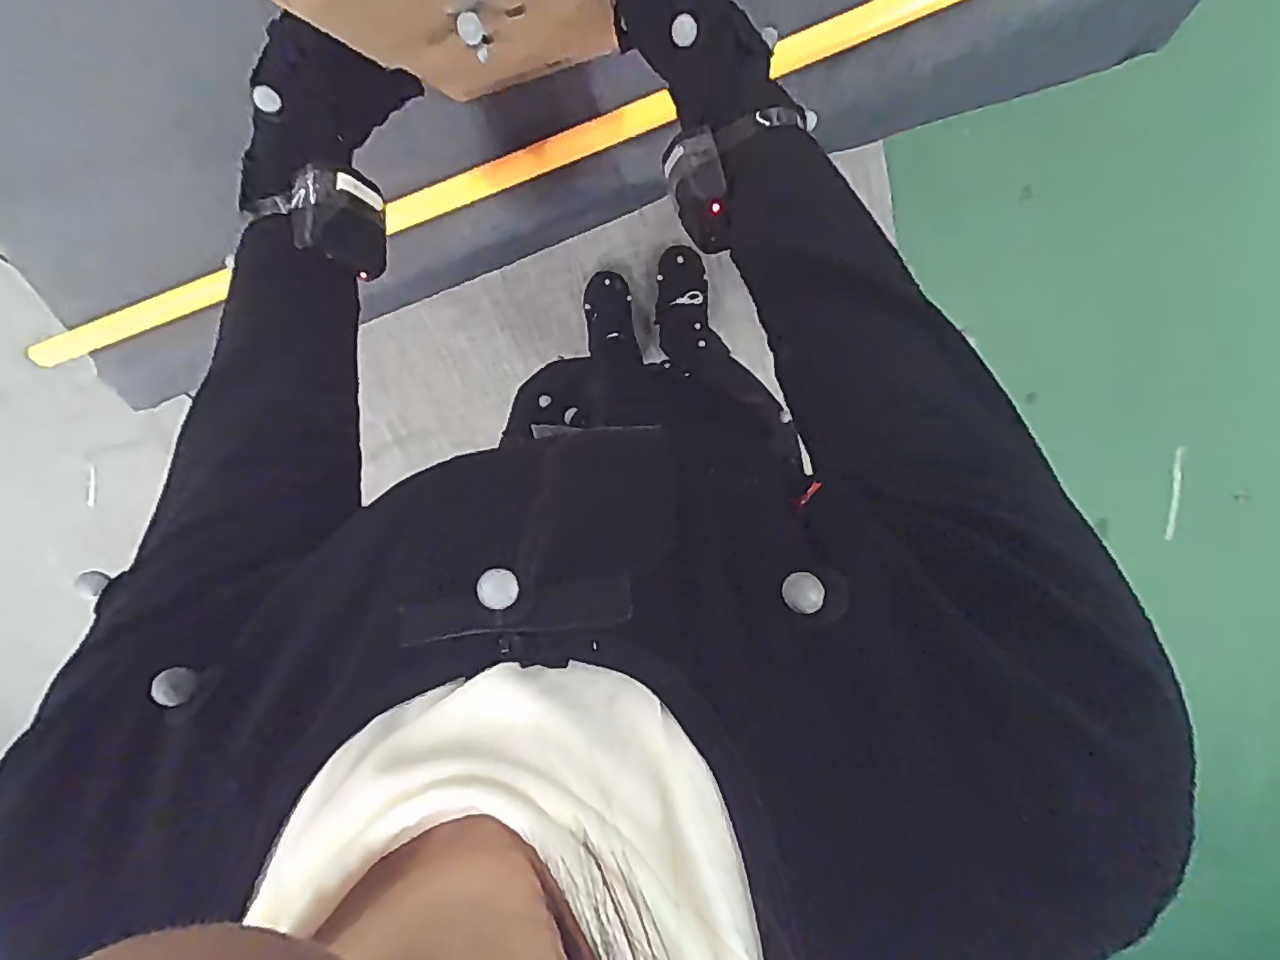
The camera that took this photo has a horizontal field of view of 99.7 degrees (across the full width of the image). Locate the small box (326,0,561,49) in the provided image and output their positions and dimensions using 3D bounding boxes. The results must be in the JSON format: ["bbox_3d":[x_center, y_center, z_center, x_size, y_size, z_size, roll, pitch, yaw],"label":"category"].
[{"bbox_3d":[-0.124,-0.355,0.262,0.168,0.176,0.179,-13,116,6],"label":"small box"}]

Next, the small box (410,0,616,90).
[{"bbox_3d":[-0.120,-0.434,0.408,0.168,0.176,0.179,-13,116,7],"label":"small box"}]
